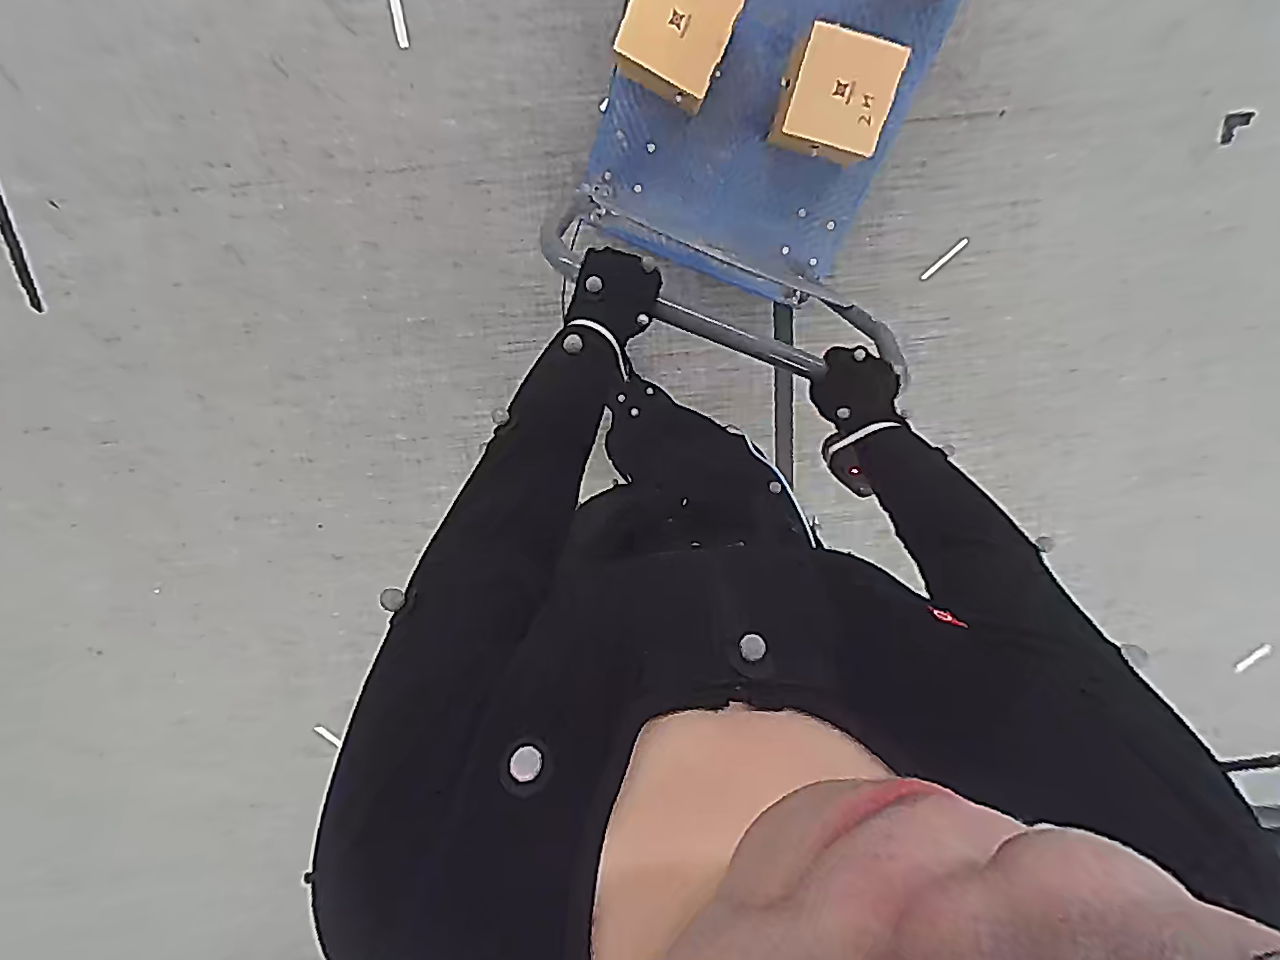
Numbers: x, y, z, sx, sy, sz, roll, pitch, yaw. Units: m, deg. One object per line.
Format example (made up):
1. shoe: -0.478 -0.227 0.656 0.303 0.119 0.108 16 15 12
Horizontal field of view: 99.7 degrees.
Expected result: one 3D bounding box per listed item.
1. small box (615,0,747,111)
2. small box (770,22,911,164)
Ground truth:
1. small box: 0.068 -0.803 0.979 0.179 0.176 0.168 23 114 -11
2. small box: 0.360 -0.709 1.014 0.179 0.176 0.168 14 116 -5
